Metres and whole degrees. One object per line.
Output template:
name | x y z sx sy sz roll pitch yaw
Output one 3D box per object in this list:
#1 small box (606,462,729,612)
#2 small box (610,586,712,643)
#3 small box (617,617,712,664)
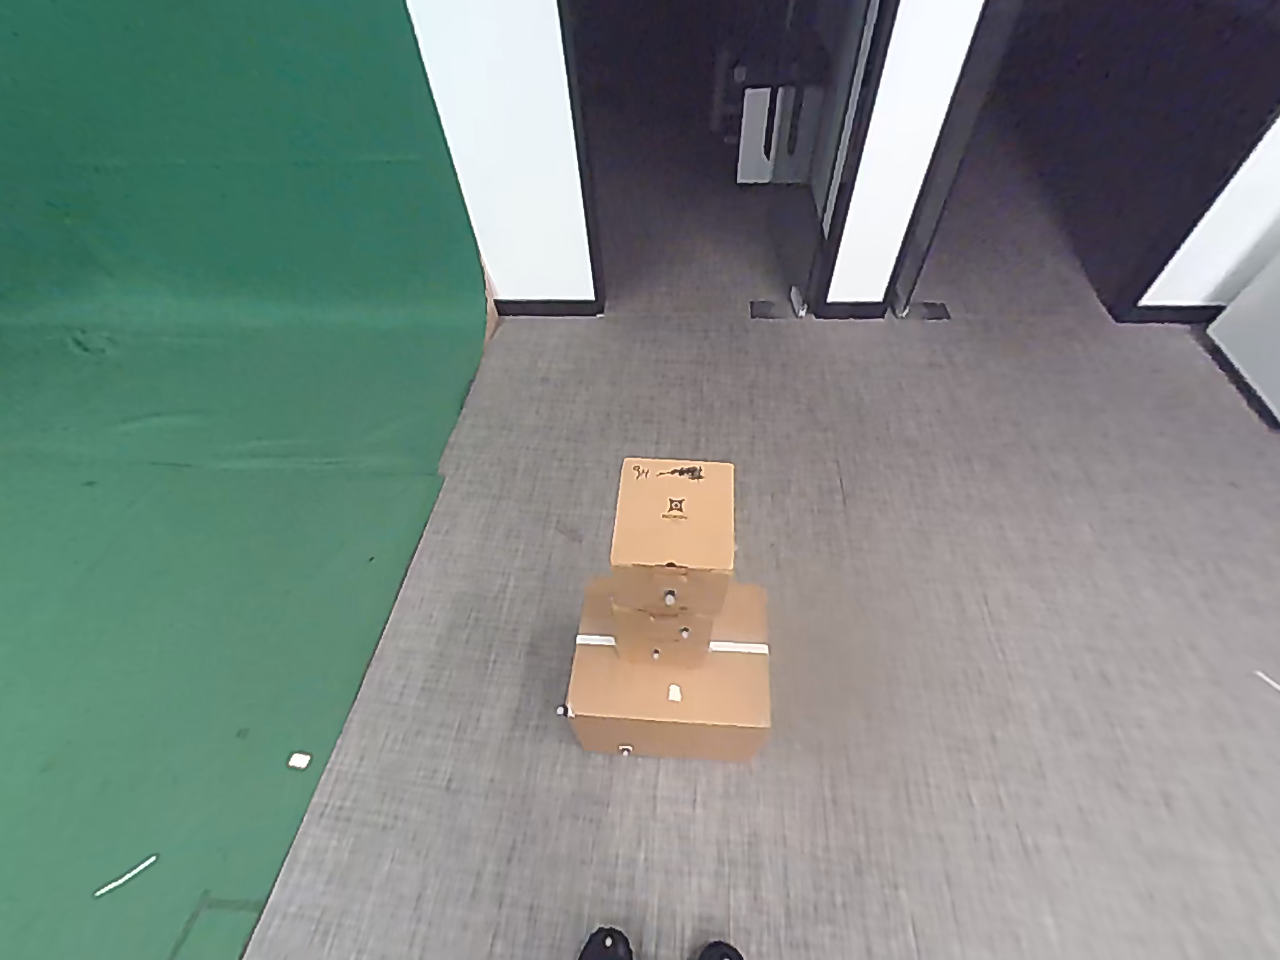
small box | 0.047 0.092 0.830 0.168 0.176 0.179 3 58 5
small box | 0.045 0.182 0.967 0.168 0.176 0.179 2 56 4
small box | 0.052 0.271 1.102 0.179 0.176 0.168 2 58 5
